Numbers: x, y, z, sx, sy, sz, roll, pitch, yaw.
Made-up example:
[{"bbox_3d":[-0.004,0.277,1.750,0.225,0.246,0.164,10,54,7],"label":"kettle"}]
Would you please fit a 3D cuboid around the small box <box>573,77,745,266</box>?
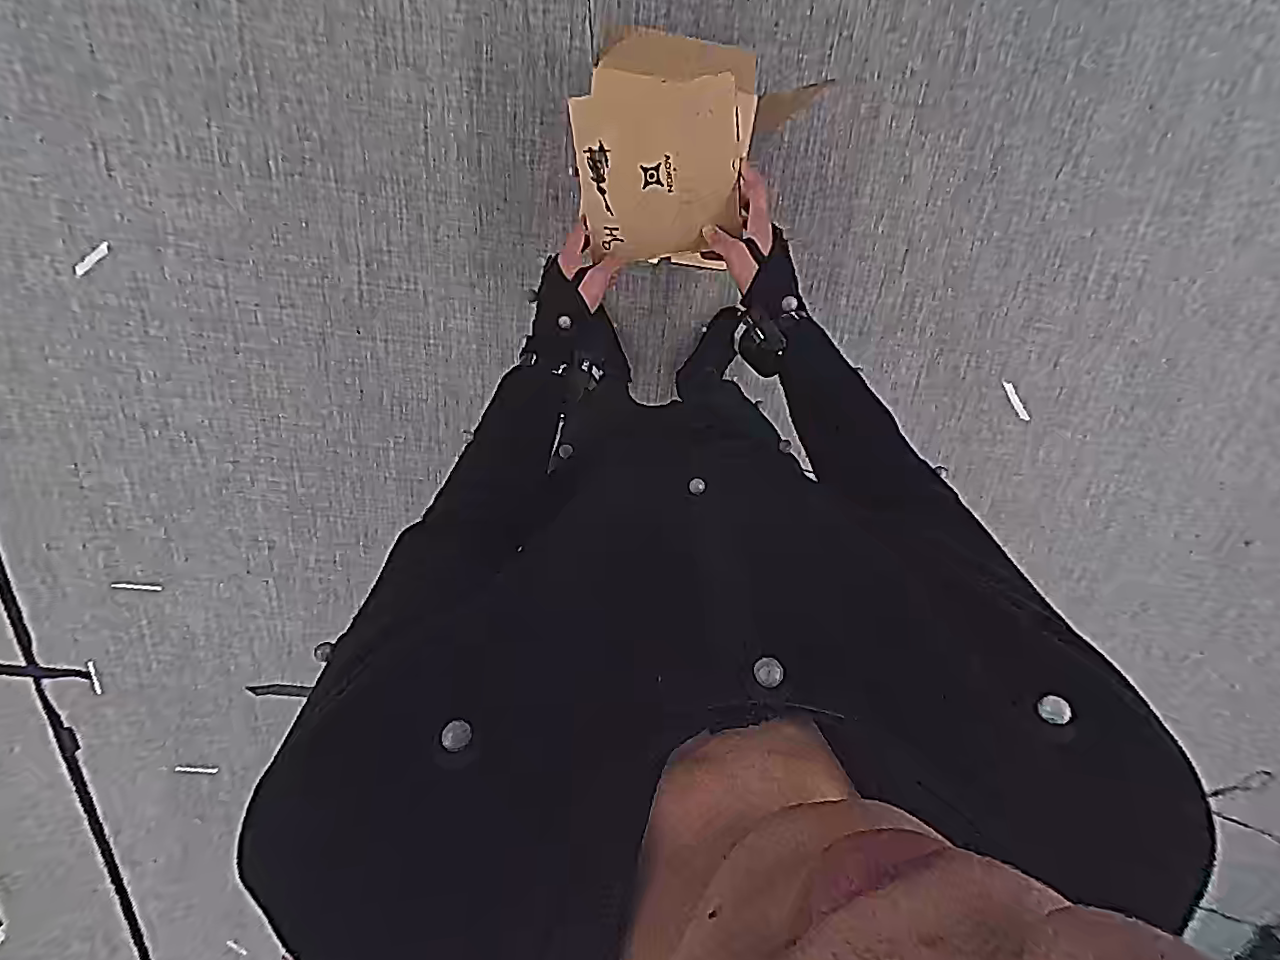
[{"bbox_3d":[0.024,-0.361,0.652,0.179,0.176,0.168,-6,116,3],"label":"small box"}]
